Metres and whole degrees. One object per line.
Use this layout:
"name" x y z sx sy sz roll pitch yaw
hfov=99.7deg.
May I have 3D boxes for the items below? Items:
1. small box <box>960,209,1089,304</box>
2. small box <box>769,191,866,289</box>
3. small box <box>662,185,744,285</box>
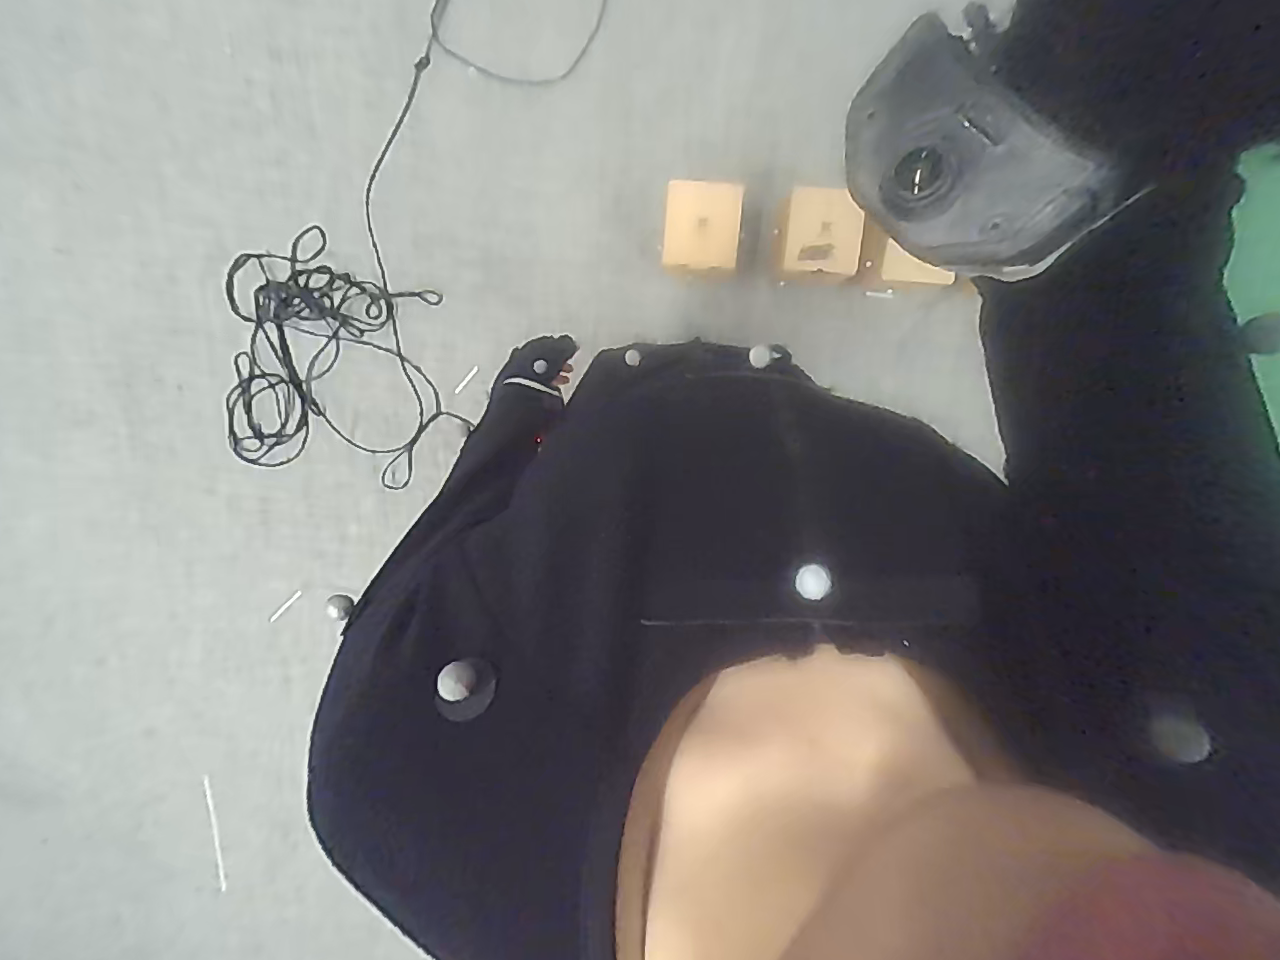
"small box" 0.885 -0.512 1.264 0.168 0.176 0.179 5 103 0
"small box" 0.405 -0.551 1.263 0.168 0.176 0.179 4 102 1
"small box" 0.140 -0.566 1.268 0.168 0.176 0.179 4 103 1
